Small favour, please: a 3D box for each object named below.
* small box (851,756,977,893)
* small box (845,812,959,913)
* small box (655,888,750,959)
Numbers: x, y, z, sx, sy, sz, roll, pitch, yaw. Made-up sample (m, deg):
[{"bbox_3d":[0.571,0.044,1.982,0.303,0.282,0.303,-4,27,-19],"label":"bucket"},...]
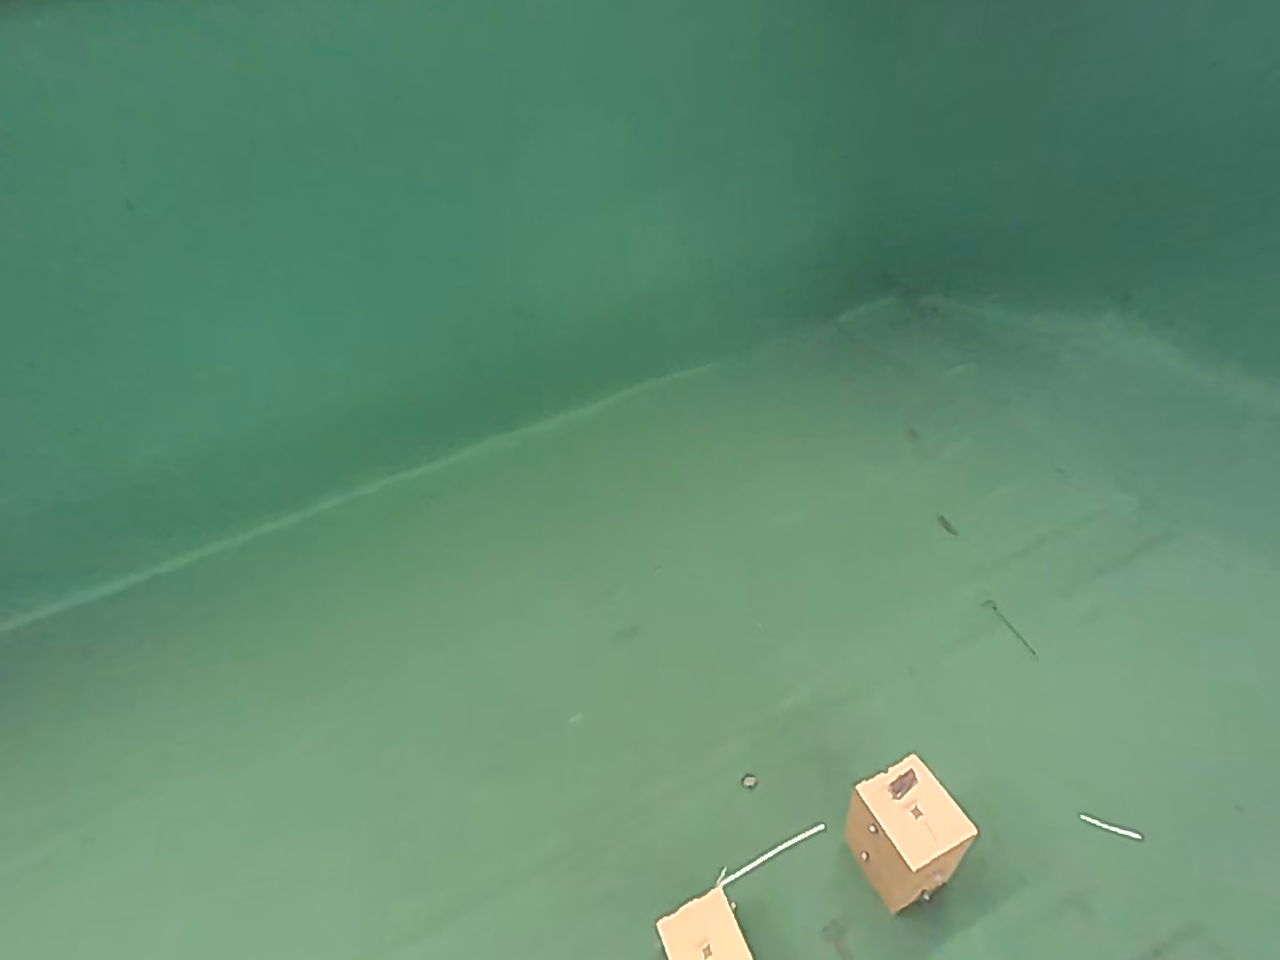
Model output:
[{"bbox_3d":[0.588,0.755,1.188,0.168,0.176,0.179,-21,40,-11],"label":"small box"},{"bbox_3d":[0.612,0.881,1.291,0.168,0.176,0.179,-21,40,-11],"label":"small box"},{"bbox_3d":[0.152,1.060,1.196,0.168,0.176,0.179,-22,39,-12],"label":"small box"}]
